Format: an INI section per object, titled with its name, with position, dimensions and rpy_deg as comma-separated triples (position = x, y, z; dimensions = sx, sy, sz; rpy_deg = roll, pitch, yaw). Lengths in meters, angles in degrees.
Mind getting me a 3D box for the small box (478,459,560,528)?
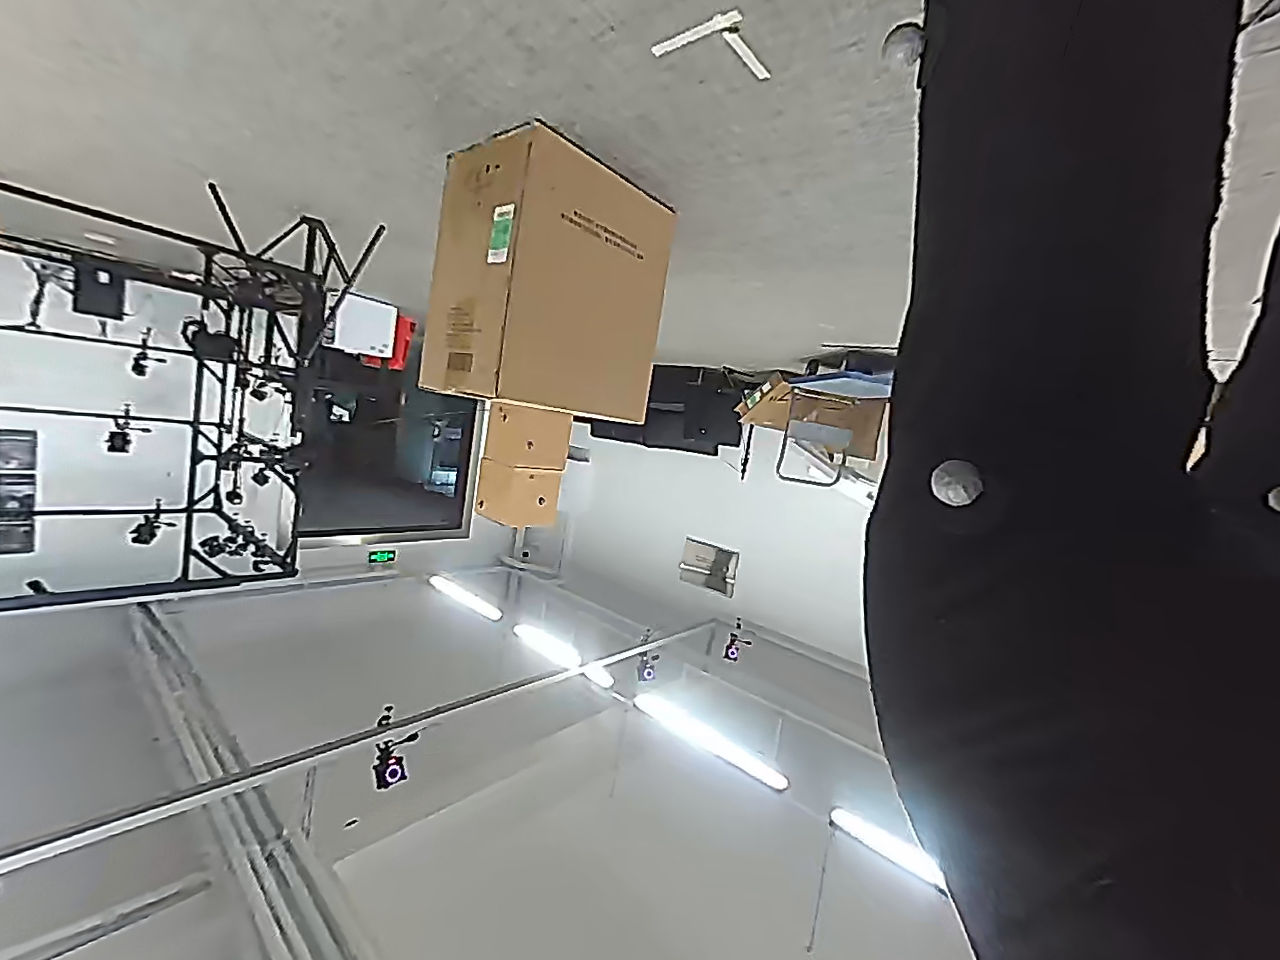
[small box]
position = -0.345, 0.033, 1.556
dimensions = 0.179, 0.176, 0.168
rpy_deg = 15, -172, 43
